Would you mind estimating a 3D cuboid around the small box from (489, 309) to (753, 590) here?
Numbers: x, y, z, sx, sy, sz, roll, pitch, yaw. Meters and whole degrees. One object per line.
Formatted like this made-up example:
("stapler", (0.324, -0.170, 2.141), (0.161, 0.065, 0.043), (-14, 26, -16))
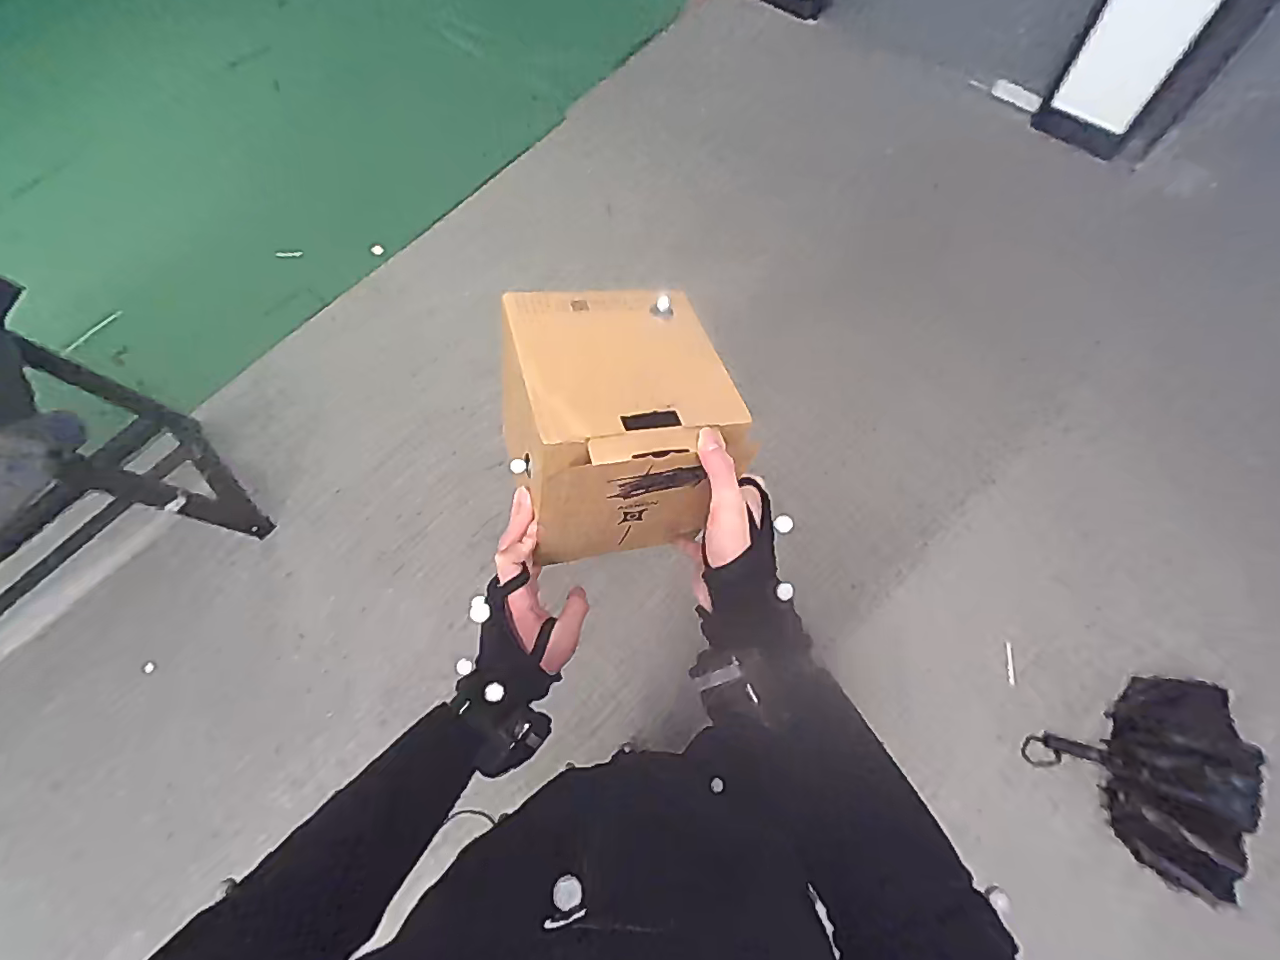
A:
("small box", (-0.034, -0.031, 0.467), (0.168, 0.179, 0.176), (-8, 57, -19))
